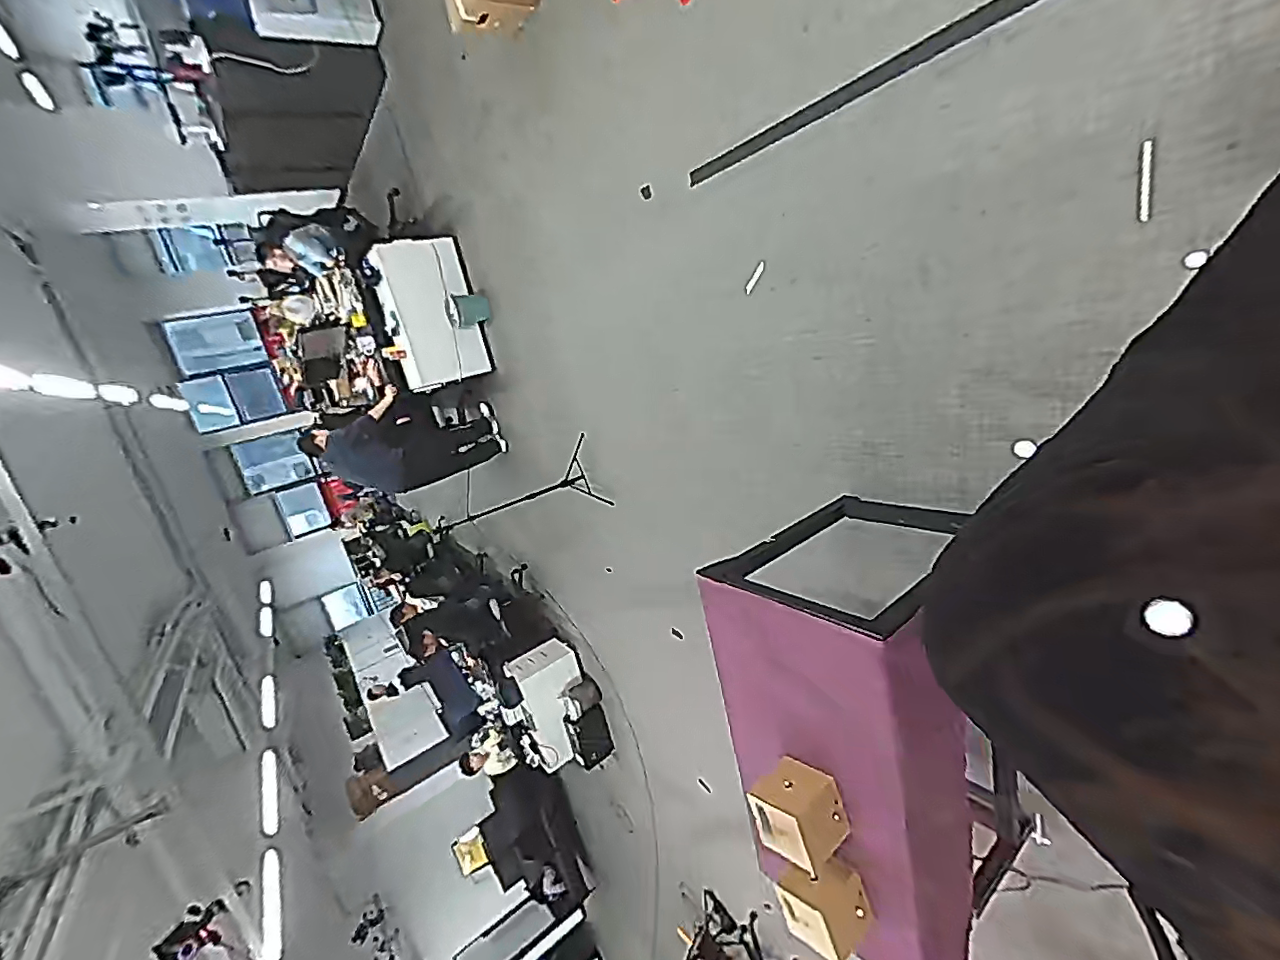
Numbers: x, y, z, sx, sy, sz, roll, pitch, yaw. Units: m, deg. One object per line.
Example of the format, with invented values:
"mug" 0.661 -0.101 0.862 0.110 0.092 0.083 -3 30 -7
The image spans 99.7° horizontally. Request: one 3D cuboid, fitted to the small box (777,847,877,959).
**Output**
"small box" 0.524 1.181 1.516 0.179 0.176 0.168 -14 98 58
